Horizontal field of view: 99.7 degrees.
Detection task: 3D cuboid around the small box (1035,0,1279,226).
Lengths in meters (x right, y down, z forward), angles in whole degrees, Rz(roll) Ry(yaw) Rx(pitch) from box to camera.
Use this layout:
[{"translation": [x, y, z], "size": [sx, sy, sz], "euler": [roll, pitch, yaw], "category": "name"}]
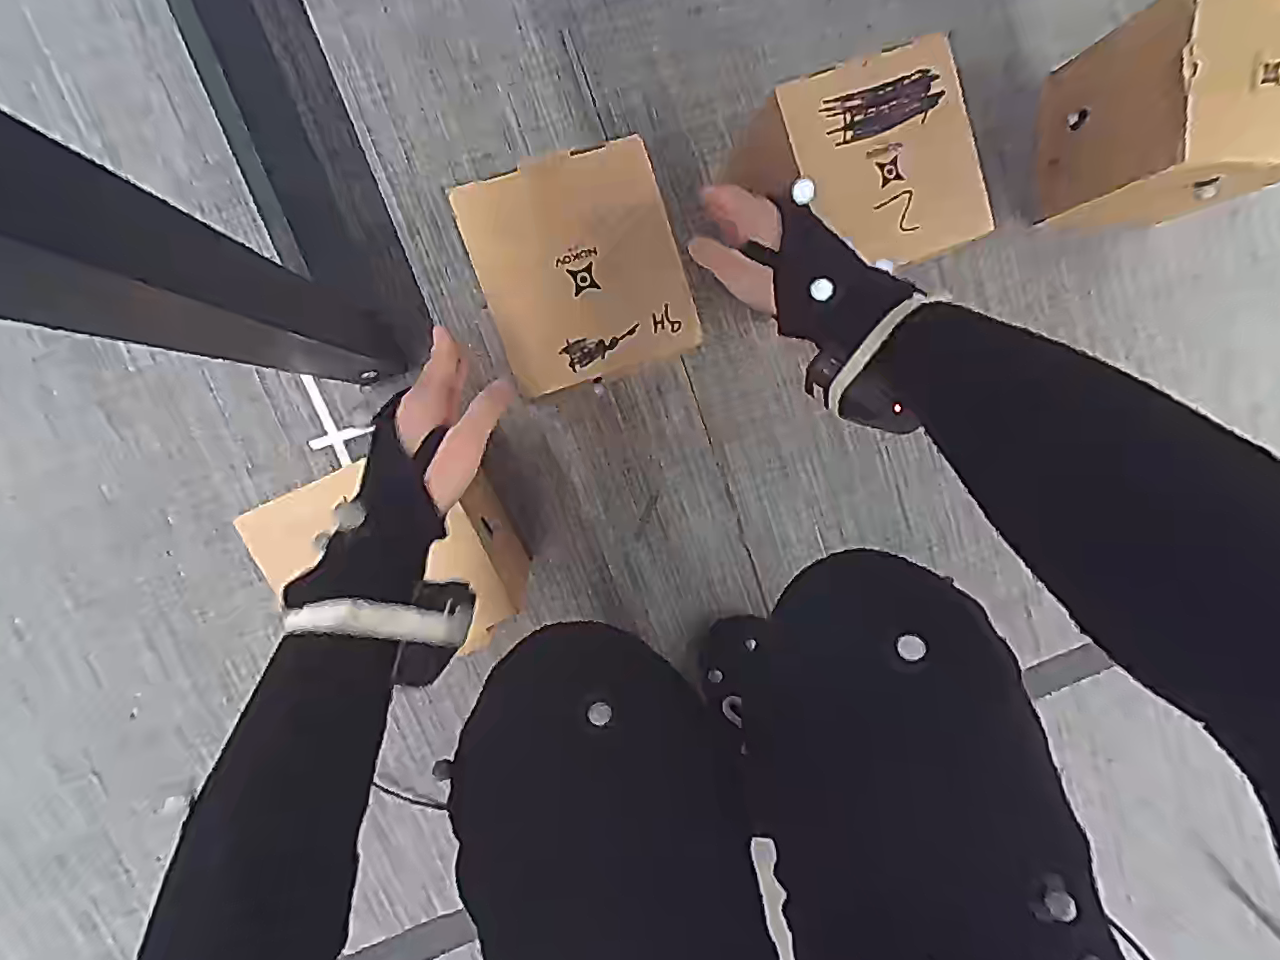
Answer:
[{"translation": [0.582, -0.391, 0.590], "size": [0.179, 0.176, 0.168], "euler": [-4, 97, -7], "category": "small box"}]
